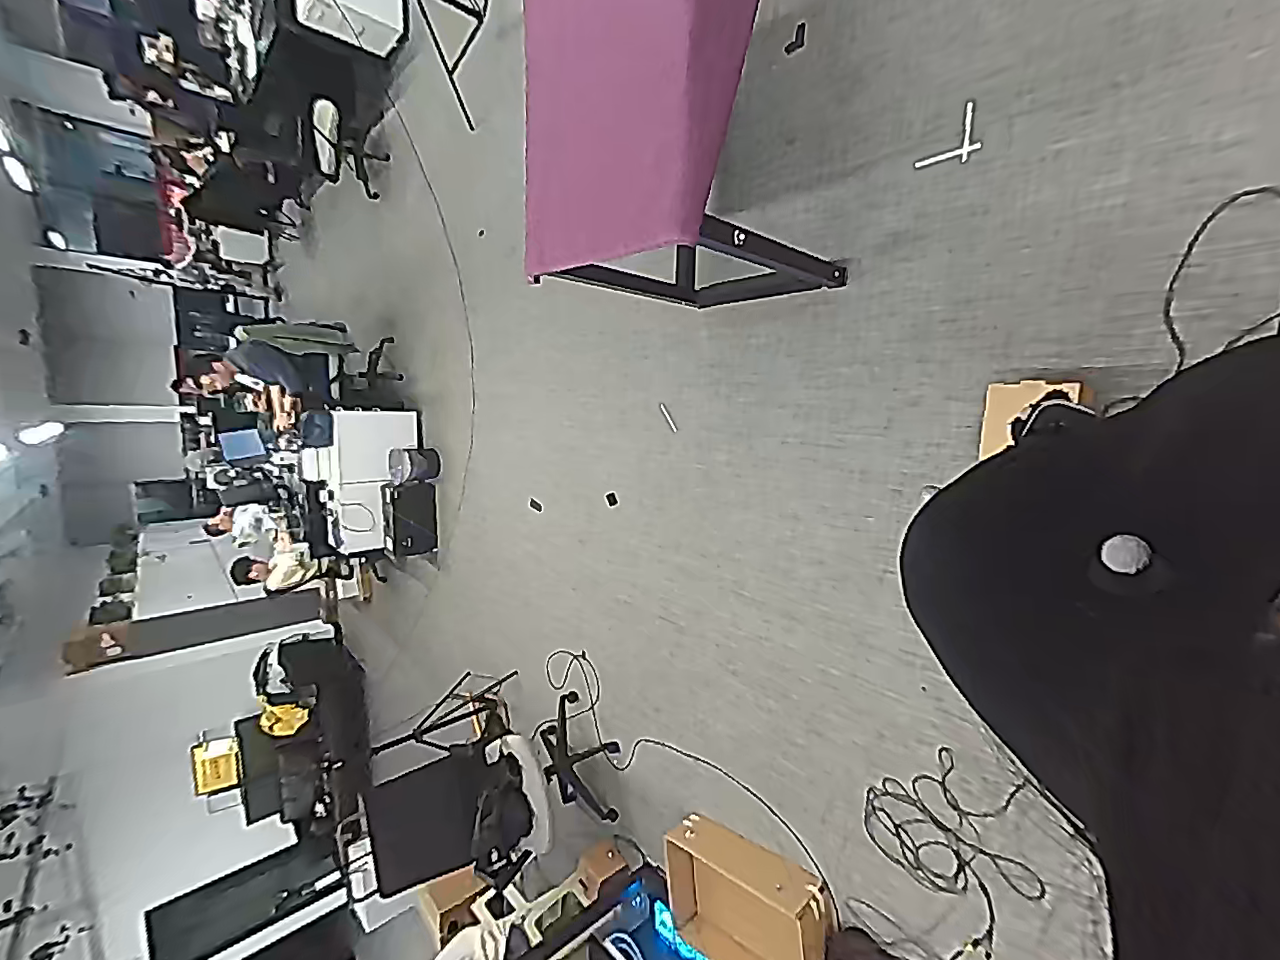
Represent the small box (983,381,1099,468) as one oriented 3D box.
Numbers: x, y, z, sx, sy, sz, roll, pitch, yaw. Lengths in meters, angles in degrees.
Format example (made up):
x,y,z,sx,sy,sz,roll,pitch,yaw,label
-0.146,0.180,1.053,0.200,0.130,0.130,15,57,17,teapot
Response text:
x,y,z,sx,sy,sz,roll,pitch,yaw,label
0.888,-0.123,1.194,0.168,0.176,0.179,11,100,47,small box
